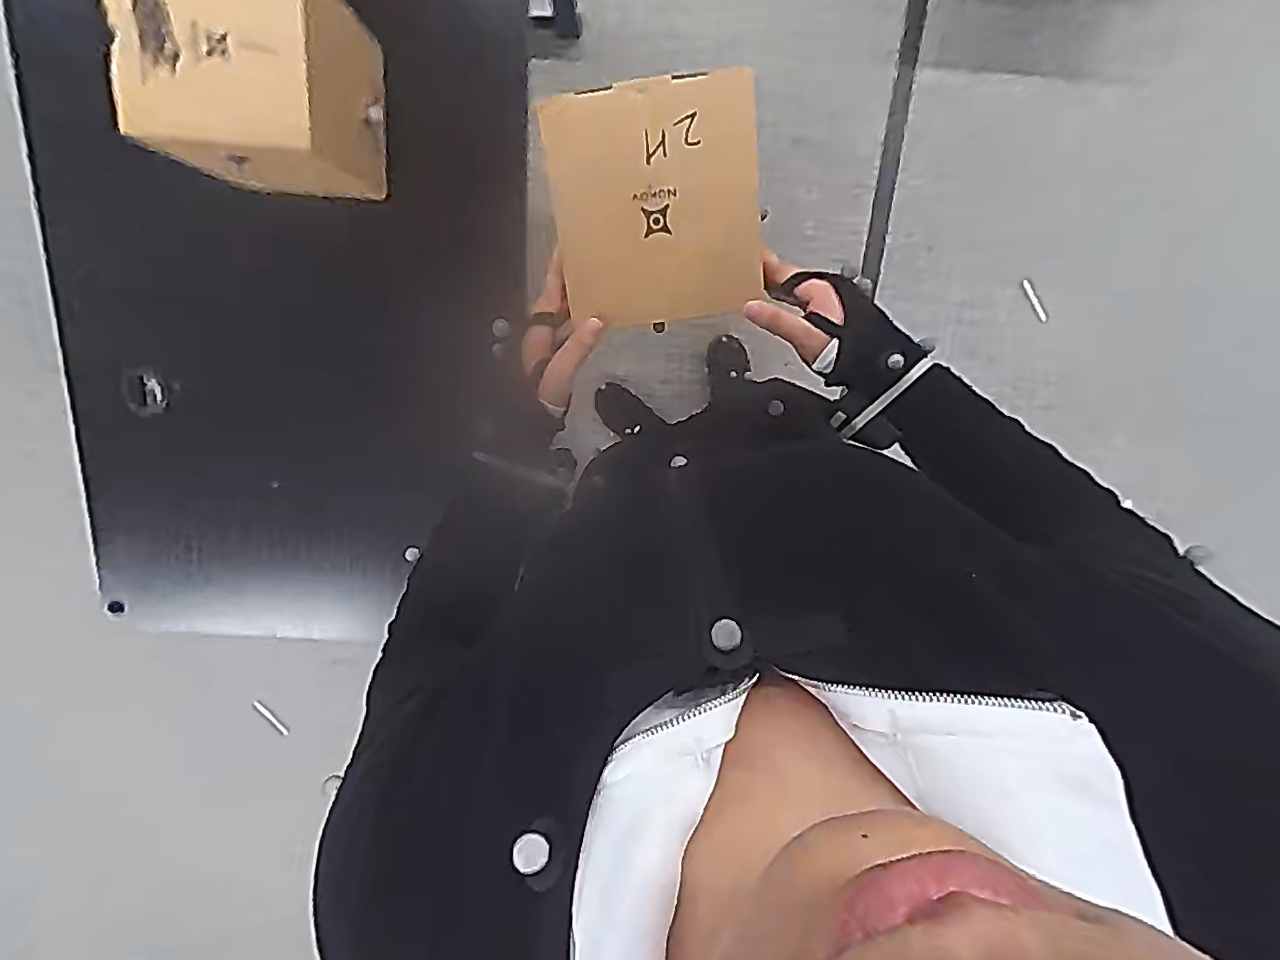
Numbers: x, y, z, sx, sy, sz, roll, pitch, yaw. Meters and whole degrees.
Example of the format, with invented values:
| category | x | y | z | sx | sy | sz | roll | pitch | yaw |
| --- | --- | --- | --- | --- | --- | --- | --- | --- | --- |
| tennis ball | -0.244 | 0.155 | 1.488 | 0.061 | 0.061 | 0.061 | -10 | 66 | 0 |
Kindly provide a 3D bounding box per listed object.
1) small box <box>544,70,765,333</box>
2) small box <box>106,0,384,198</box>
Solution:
| category | x | y | z | sx | sy | sz | roll | pitch | yaw |
| --- | --- | --- | --- | --- | --- | --- | --- | --- | --- |
| small box | 0.017 | -0.242 | 0.504 | 0.168 | 0.176 | 0.179 | -6 | 110 | 2 |
| small box | -0.397 | -0.413 | 0.572 | 0.179 | 0.176 | 0.168 | 3 | 103 | -2 |
